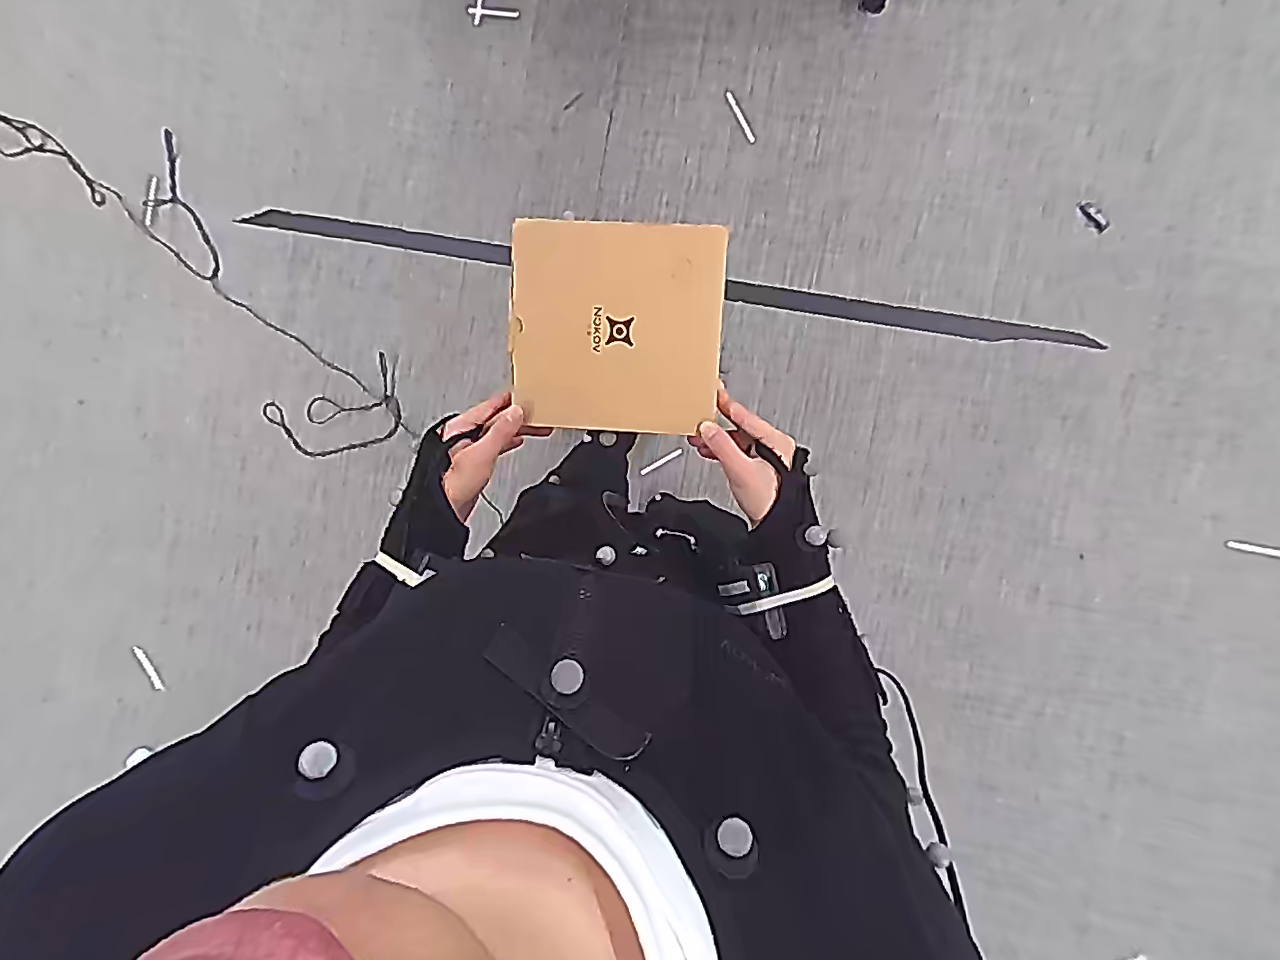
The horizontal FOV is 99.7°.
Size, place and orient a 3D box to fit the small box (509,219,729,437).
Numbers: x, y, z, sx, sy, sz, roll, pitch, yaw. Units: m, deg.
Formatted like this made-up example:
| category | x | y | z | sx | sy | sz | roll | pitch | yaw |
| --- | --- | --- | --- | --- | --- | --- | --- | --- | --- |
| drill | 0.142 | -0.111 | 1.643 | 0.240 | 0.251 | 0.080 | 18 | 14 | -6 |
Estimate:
| category | x | y | z | sx | sy | sz | roll | pitch | yaw |
| --- | --- | --- | --- | --- | --- | --- | --- | --- | --- |
| small box | -0.013 | -0.137 | 0.514 | 0.179 | 0.176 | 0.168 | 4 | 101 | 6 |
